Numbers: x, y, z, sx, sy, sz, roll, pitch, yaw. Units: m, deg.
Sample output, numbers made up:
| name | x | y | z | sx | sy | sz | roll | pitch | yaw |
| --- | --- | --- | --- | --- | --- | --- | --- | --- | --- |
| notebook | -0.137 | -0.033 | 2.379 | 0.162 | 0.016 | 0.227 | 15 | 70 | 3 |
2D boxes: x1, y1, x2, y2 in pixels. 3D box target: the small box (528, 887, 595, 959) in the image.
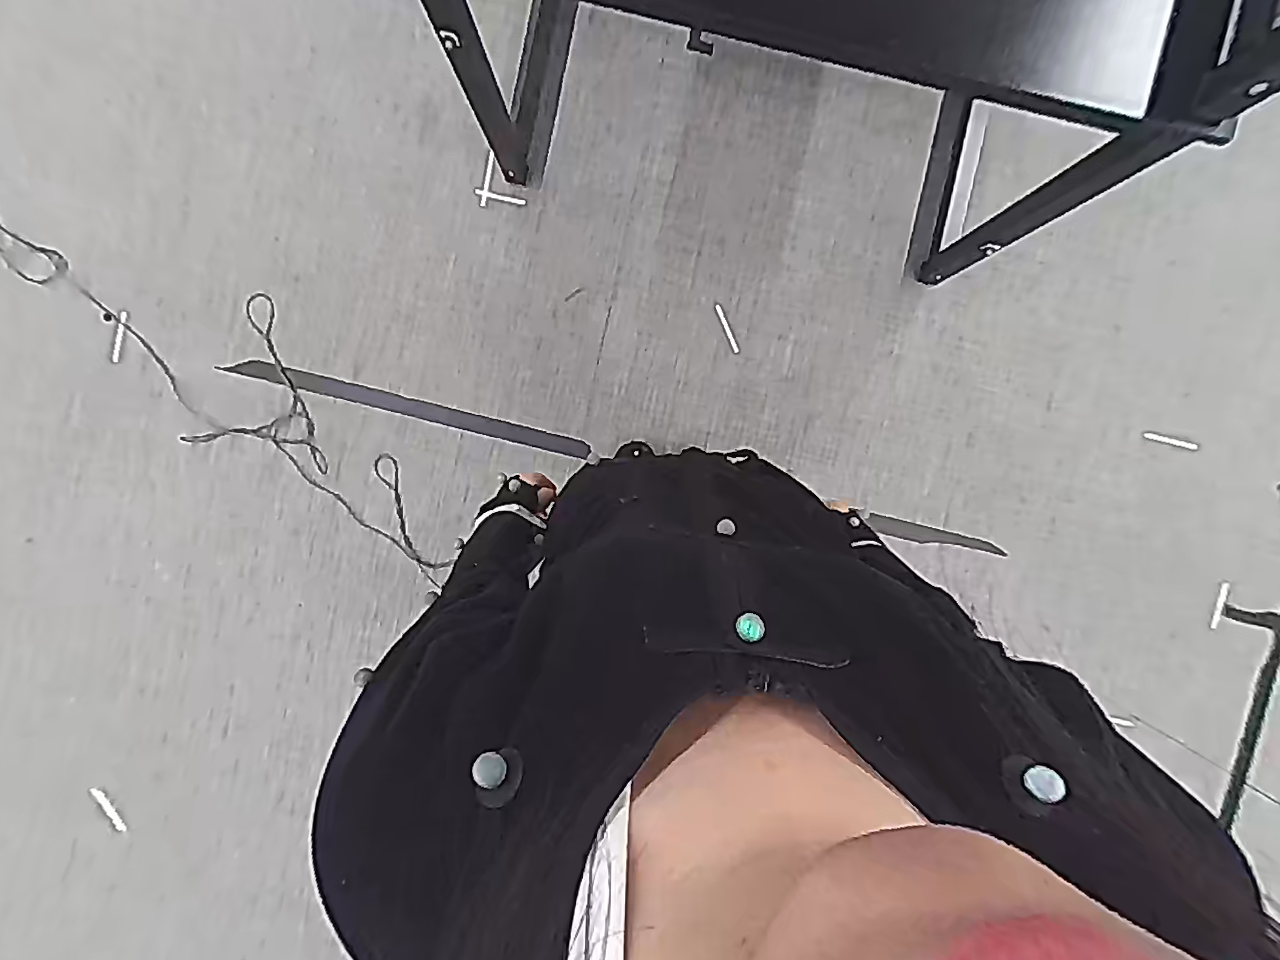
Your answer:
| name | x | y | z | sx | sy | sz | roll | pitch | yaw |
| --- | --- | --- | --- | --- | --- | --- | --- | --- | --- |
| small box | -0.210 | 1.246 | 1.462 | 0.168 | 0.176 | 0.179 | 4 | 93 | -2 |
